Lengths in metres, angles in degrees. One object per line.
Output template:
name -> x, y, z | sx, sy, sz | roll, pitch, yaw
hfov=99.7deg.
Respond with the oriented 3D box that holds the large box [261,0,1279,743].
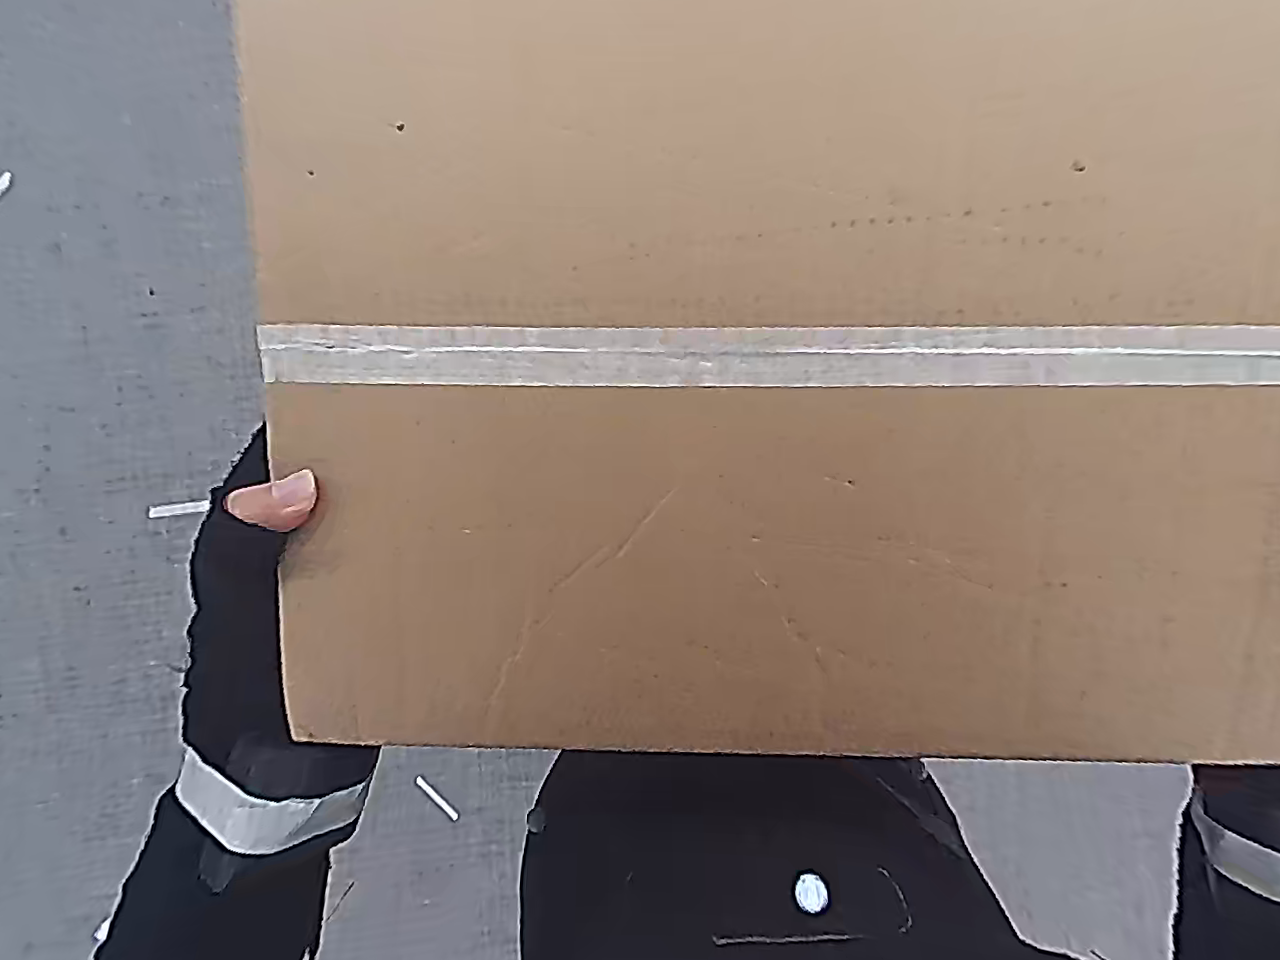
large box -> 0.063, -0.058, 0.360 | 0.408, 0.320, 0.320 | 0, 96, 2
